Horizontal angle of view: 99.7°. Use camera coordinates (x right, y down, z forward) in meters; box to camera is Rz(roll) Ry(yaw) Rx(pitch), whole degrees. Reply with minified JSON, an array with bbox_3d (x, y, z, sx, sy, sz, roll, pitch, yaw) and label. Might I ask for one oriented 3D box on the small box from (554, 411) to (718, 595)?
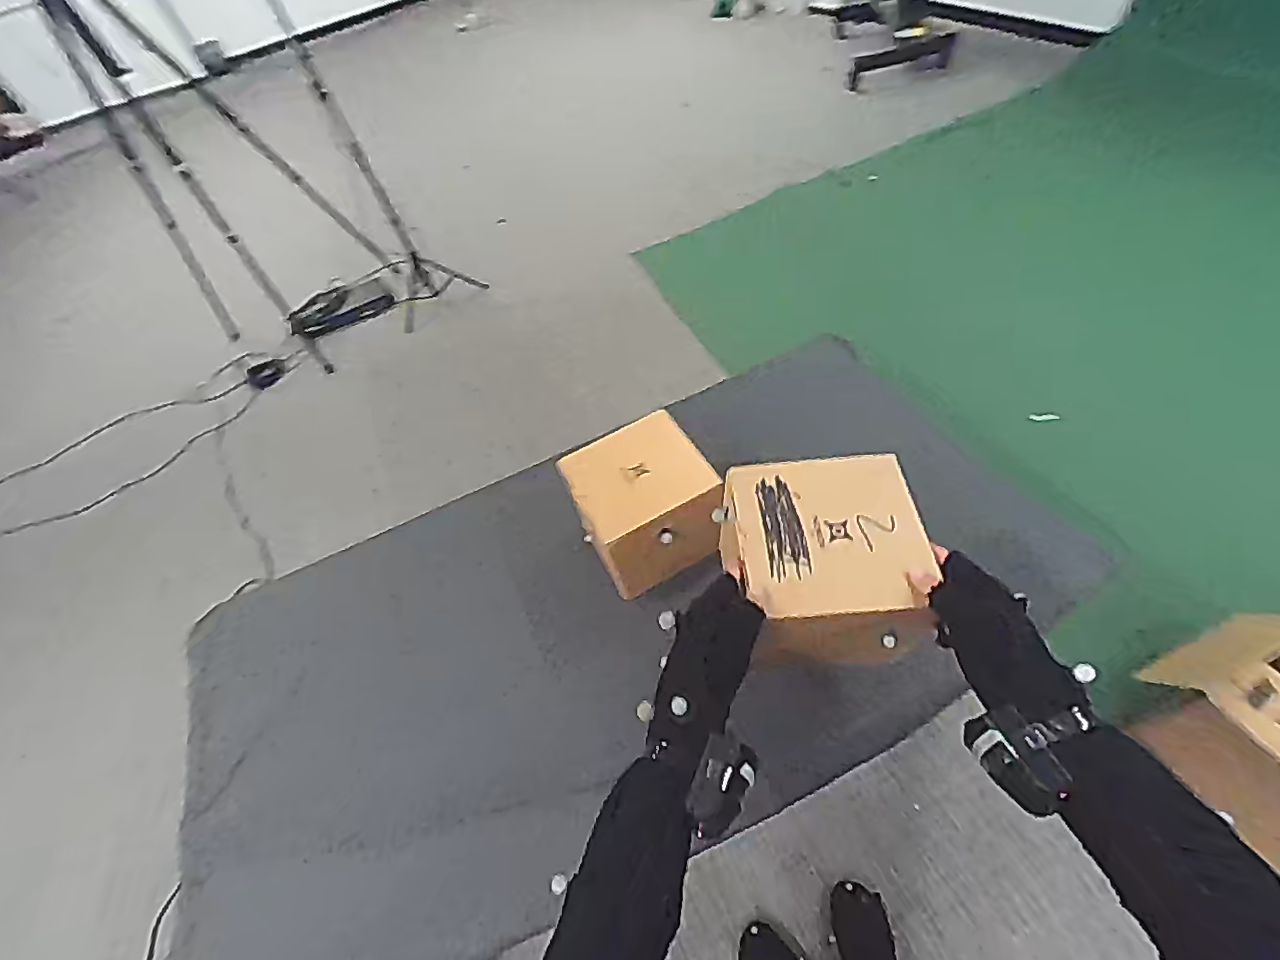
[{"bbox_3d":[0.002,0.037,0.795,0.179,0.176,0.168,-29,54,-8],"label":"small box"}]
